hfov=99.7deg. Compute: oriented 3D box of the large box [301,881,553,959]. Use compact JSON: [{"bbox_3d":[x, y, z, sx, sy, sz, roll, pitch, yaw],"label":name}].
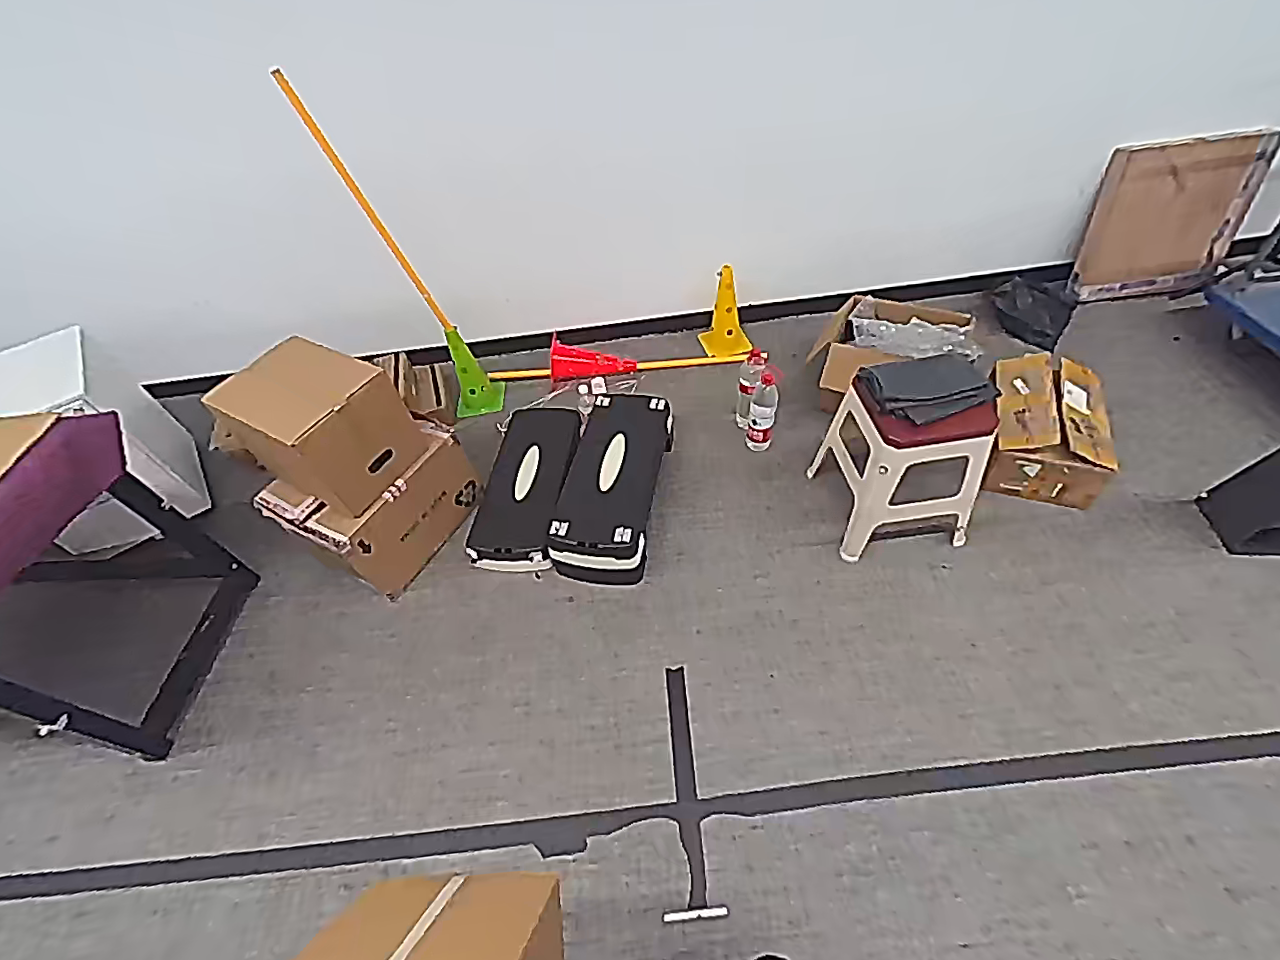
[{"bbox_3d":[-0.296,0.769,0.649,0.320,0.408,0.320,-8,81,6],"label":"large box"}]
